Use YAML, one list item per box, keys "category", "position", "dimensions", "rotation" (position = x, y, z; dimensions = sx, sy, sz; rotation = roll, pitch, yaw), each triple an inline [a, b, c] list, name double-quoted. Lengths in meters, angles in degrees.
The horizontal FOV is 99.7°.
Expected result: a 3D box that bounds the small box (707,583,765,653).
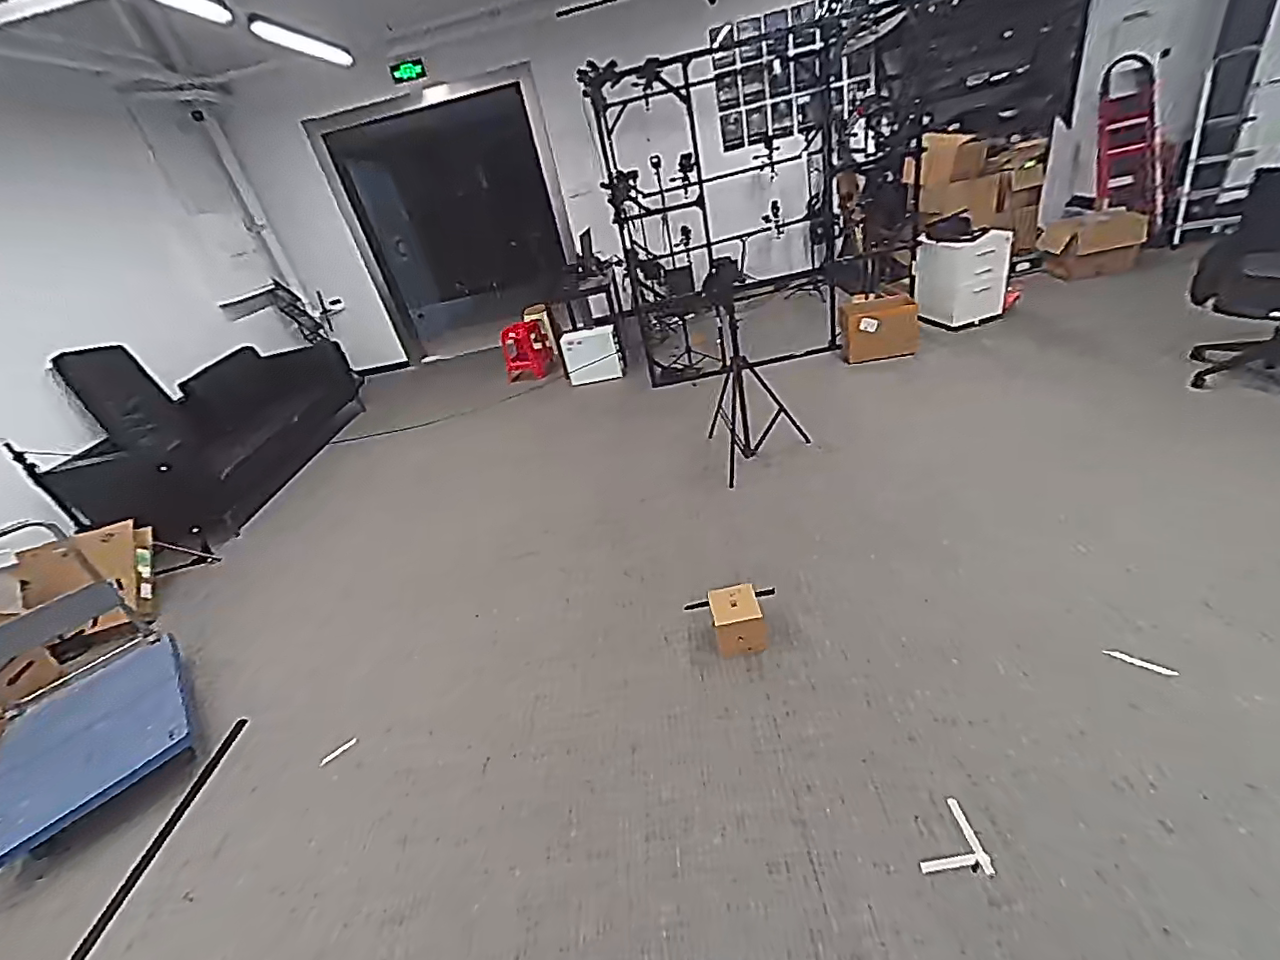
- category: "small box"
  position: [0.346, 0.503, 1.950]
  dimensions: [0.168, 0.176, 0.179]
  rotation: [-12, 30, 3]
